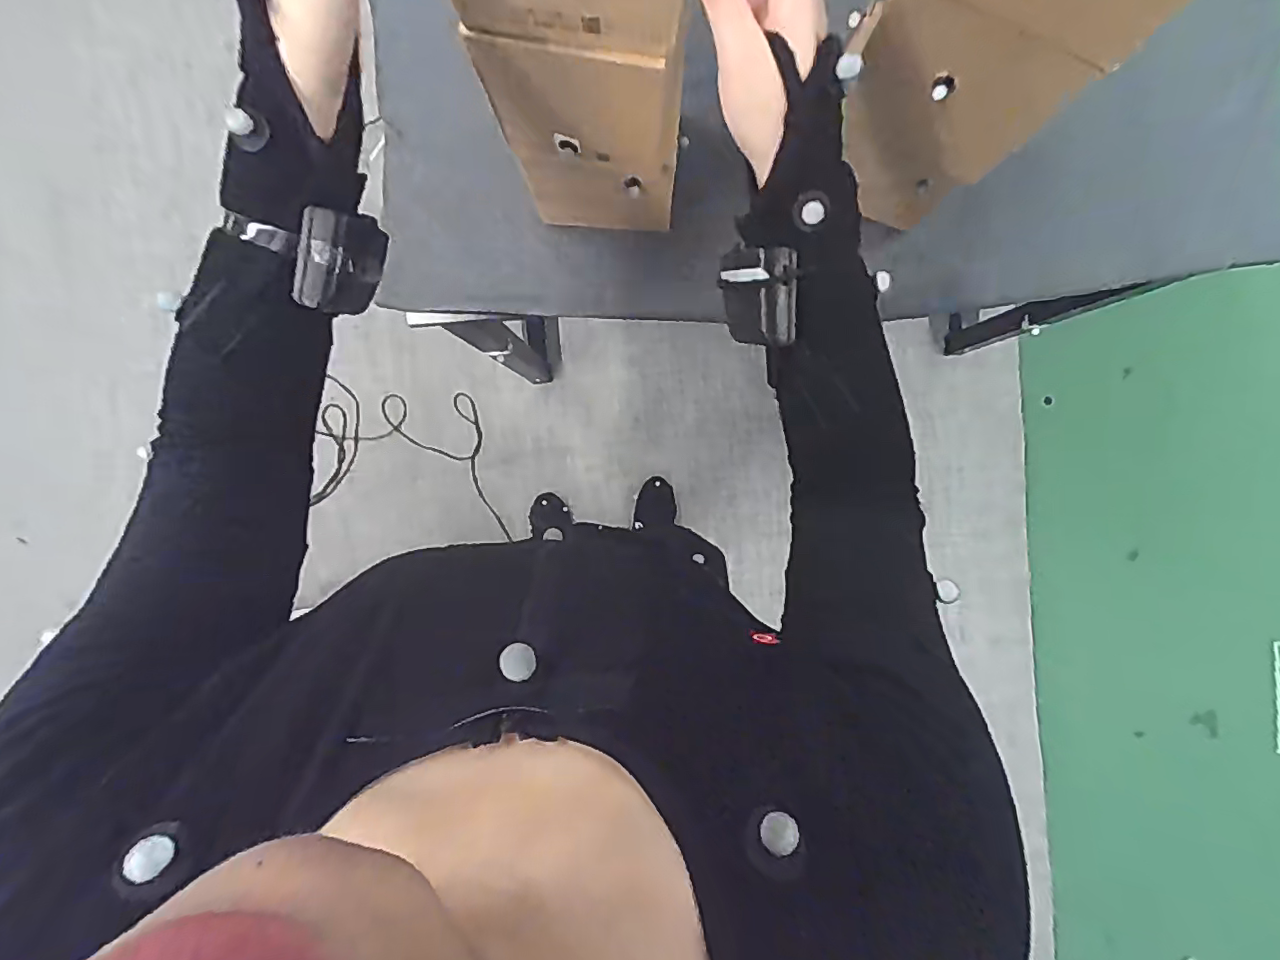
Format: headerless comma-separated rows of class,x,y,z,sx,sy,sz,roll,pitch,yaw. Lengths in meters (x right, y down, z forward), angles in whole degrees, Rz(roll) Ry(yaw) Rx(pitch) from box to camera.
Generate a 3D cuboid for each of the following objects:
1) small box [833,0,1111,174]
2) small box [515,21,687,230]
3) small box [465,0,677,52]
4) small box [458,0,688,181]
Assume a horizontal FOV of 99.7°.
small box,0.311,-0.418,0.489,0.179,0.176,0.168,28,91,0
small box,-0.042,-0.423,0.659,0.179,0.176,0.168,4,91,1
small box,-0.048,-0.415,0.333,0.168,0.176,0.179,9,93,1
small box,-0.046,-0.414,0.497,0.168,0.176,0.179,10,93,2
